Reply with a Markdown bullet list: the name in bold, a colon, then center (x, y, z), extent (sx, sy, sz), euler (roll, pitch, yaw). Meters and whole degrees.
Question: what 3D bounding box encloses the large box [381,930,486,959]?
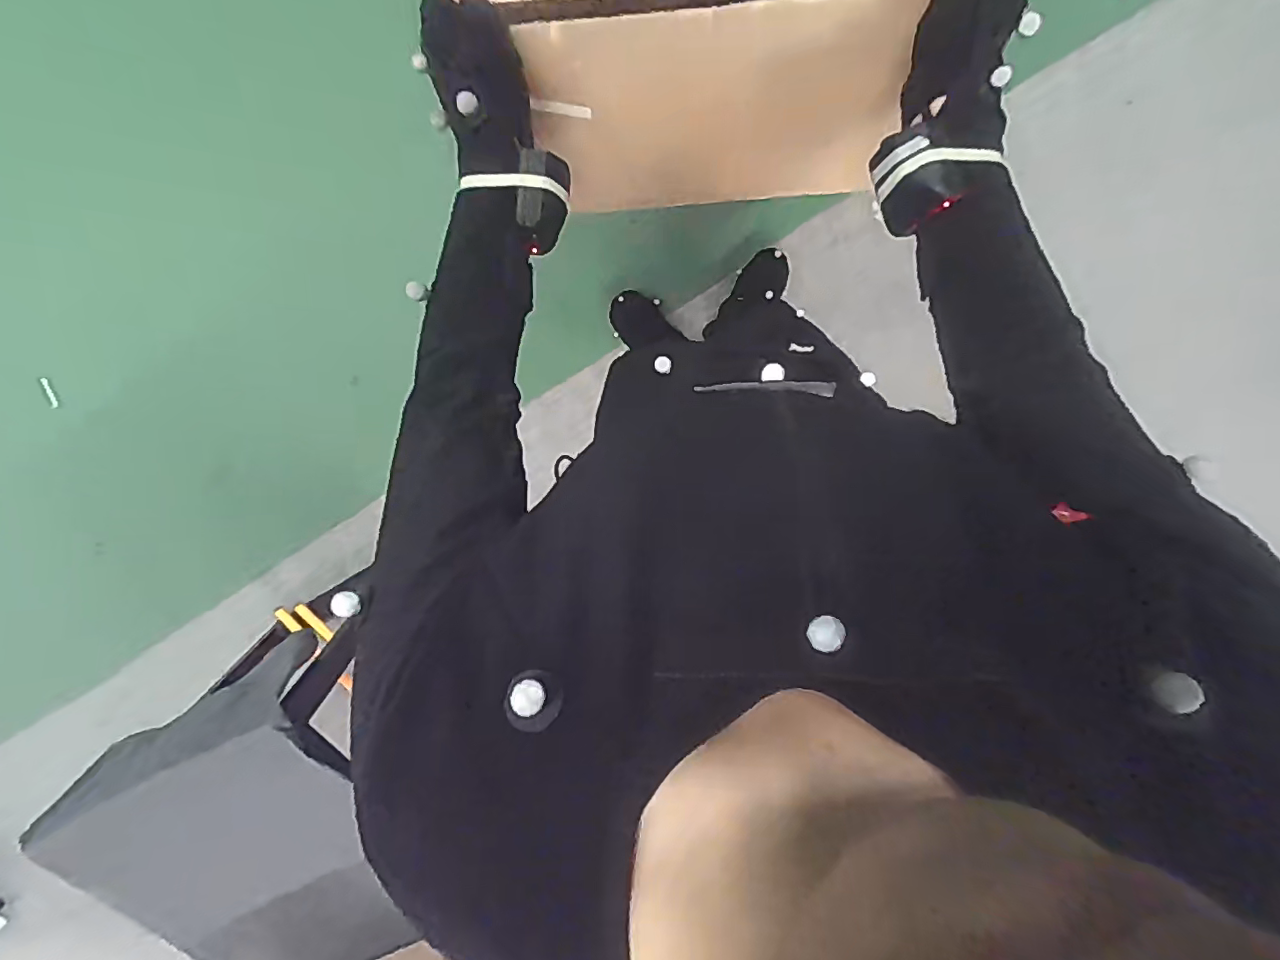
- **large box**: center (-0.475, 1.176, 1.031), extent (0.408, 0.320, 0.320), euler (-31, 109, 9)
